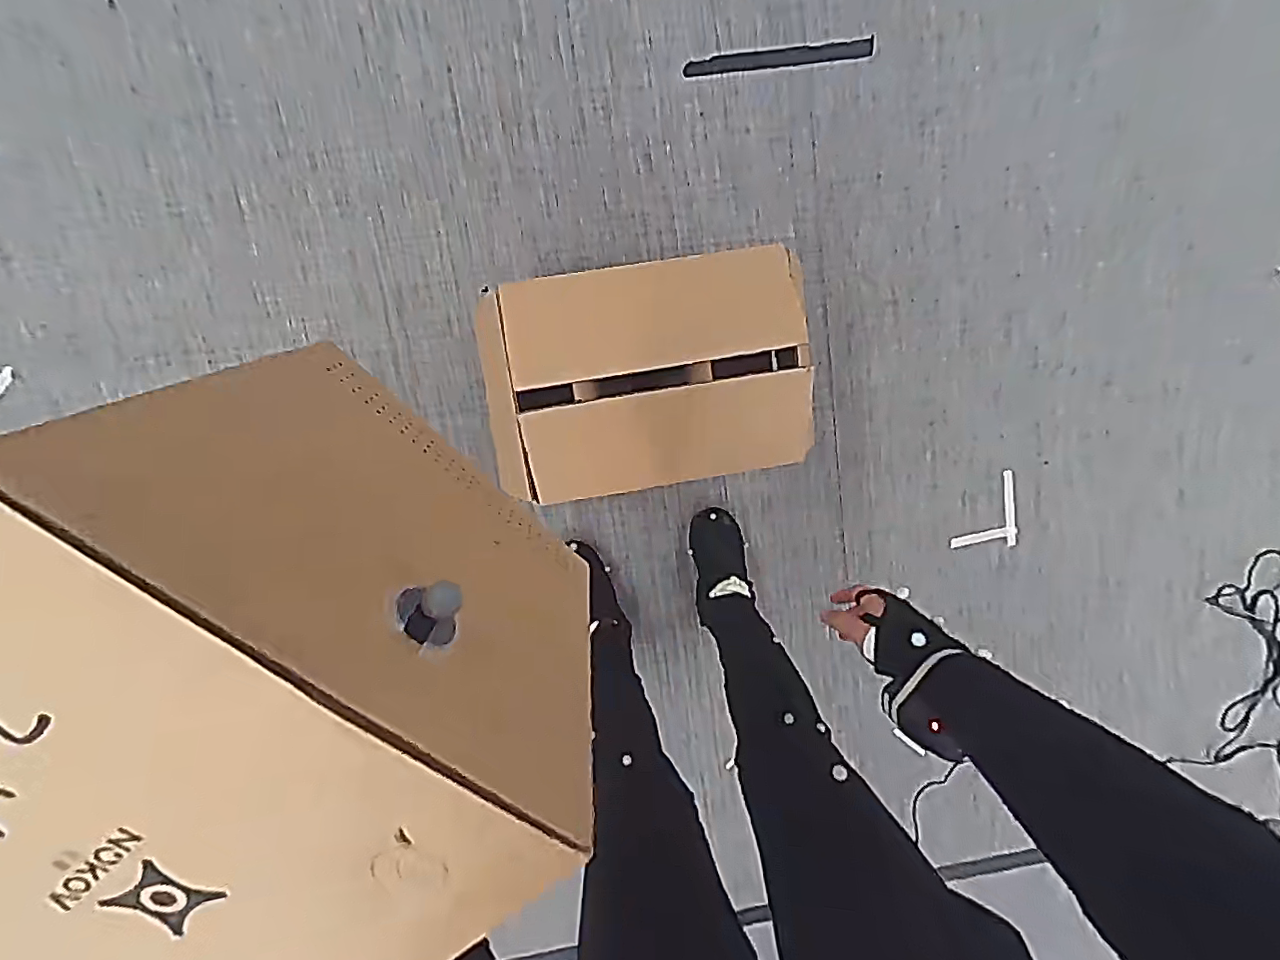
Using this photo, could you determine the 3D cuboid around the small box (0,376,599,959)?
[{"bbox_3d":[-0.135,0.079,0.229,0.168,0.176,0.179,-42,110,10],"label":"small box"}]
